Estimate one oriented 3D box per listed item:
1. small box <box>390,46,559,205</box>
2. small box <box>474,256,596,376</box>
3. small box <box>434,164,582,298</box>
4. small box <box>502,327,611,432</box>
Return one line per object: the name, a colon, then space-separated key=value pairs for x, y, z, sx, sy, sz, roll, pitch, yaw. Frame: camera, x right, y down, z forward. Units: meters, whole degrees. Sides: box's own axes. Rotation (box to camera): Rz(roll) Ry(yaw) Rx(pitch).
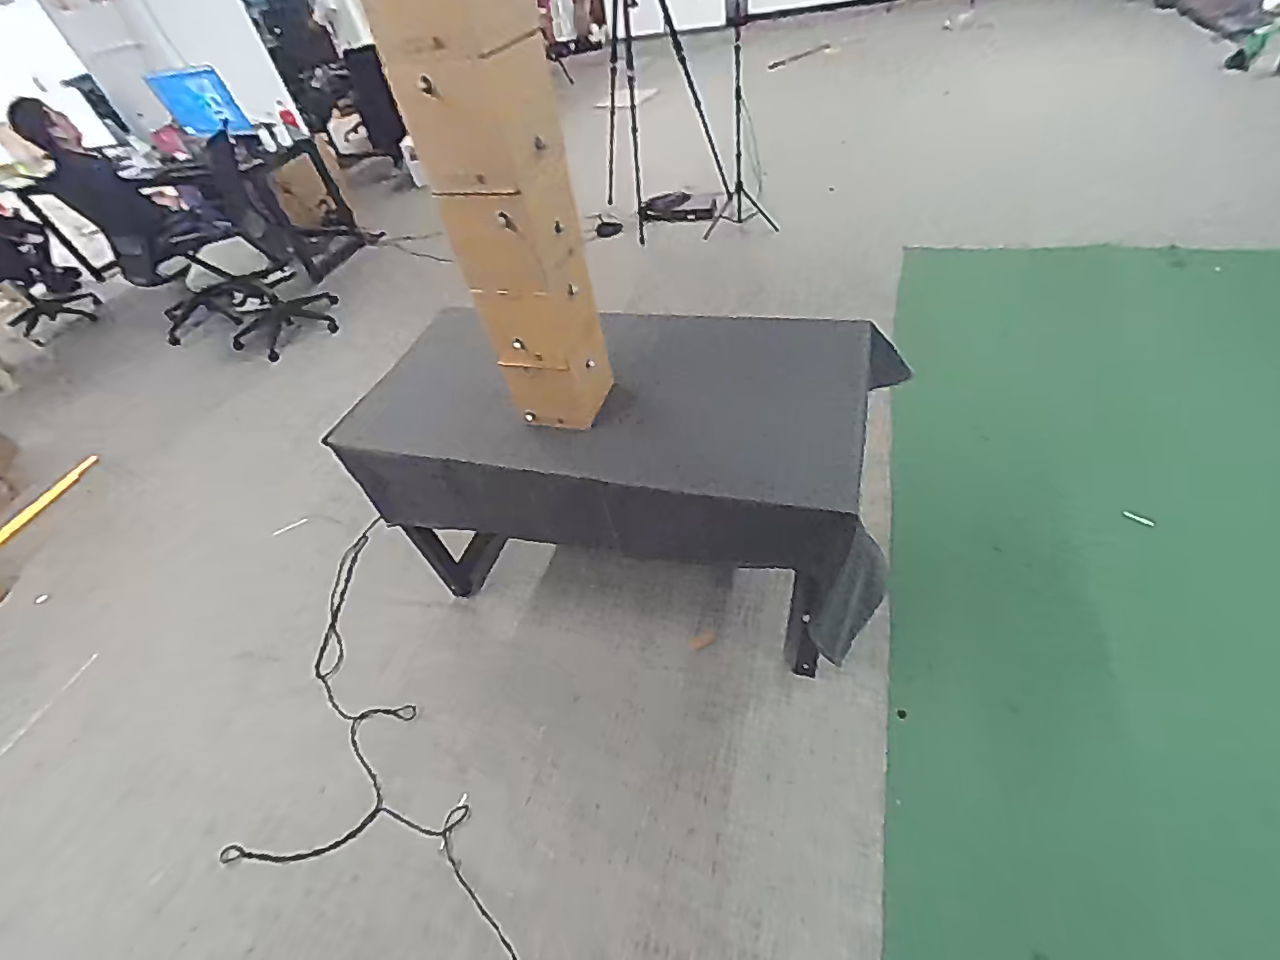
small box: x=-0.242 y=-0.552 z=0.848 sx=0.168 sy=0.176 sz=0.179 roll=10 pitch=50 yaw=20
small box: x=-0.198 y=-0.334 z=1.088 sx=0.168 sy=0.176 sz=0.179 roll=8 pitch=50 yaw=18
small box: x=-0.222 y=-0.442 z=0.967 sx=0.179 sy=0.176 sz=0.168 roll=9 pitch=50 yaw=19
small box: x=-0.174 y=-0.225 z=1.206 sx=0.168 sy=0.176 sz=0.179 roll=7 pitch=48 yaw=18
